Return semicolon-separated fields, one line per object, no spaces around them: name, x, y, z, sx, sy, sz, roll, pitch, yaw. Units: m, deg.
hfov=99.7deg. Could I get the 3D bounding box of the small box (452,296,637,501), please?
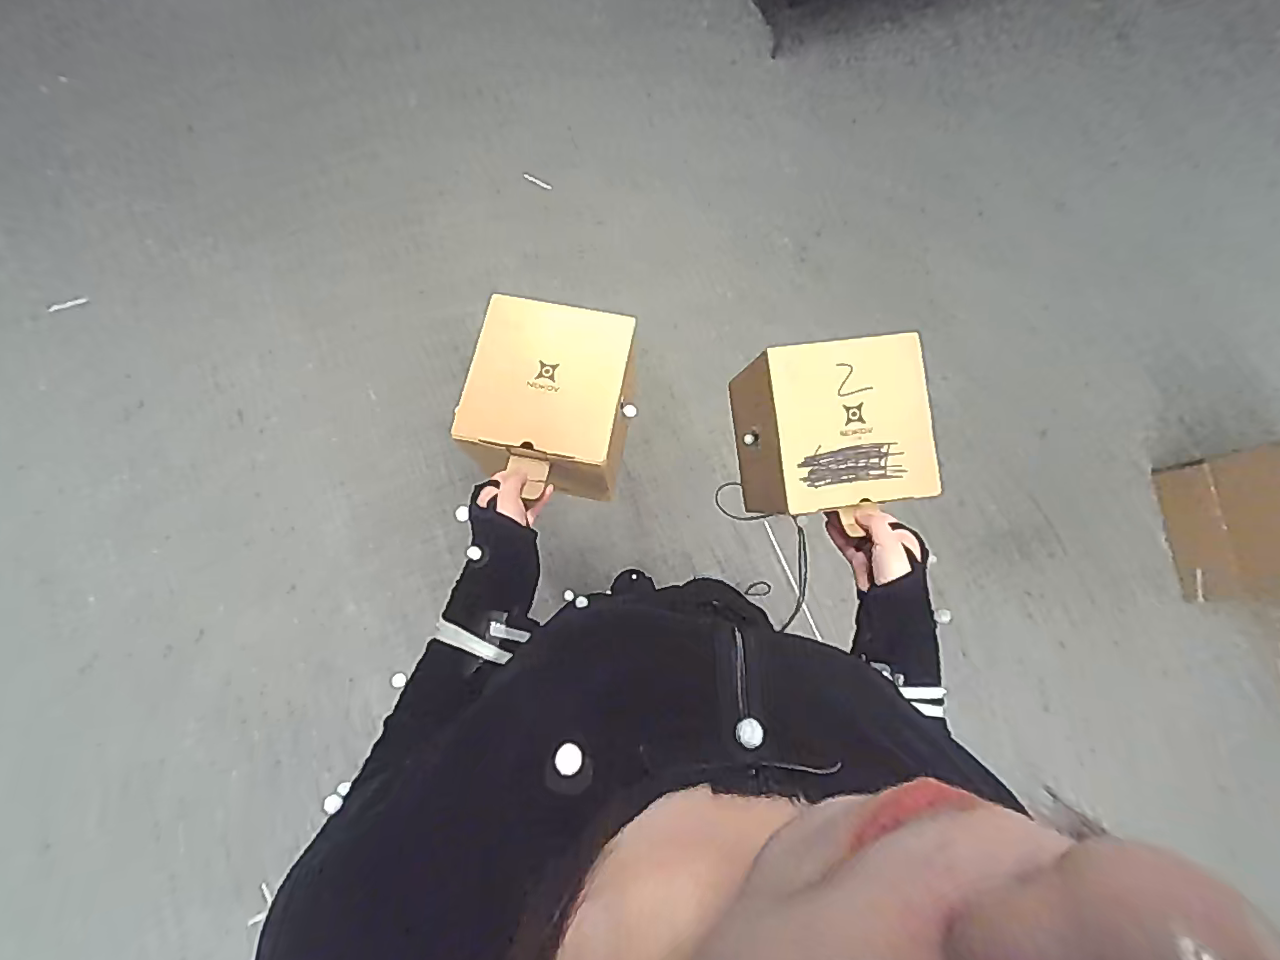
small box;-0.102;-0.088;0.654;0.168;0.176;0.179;11;75;2
